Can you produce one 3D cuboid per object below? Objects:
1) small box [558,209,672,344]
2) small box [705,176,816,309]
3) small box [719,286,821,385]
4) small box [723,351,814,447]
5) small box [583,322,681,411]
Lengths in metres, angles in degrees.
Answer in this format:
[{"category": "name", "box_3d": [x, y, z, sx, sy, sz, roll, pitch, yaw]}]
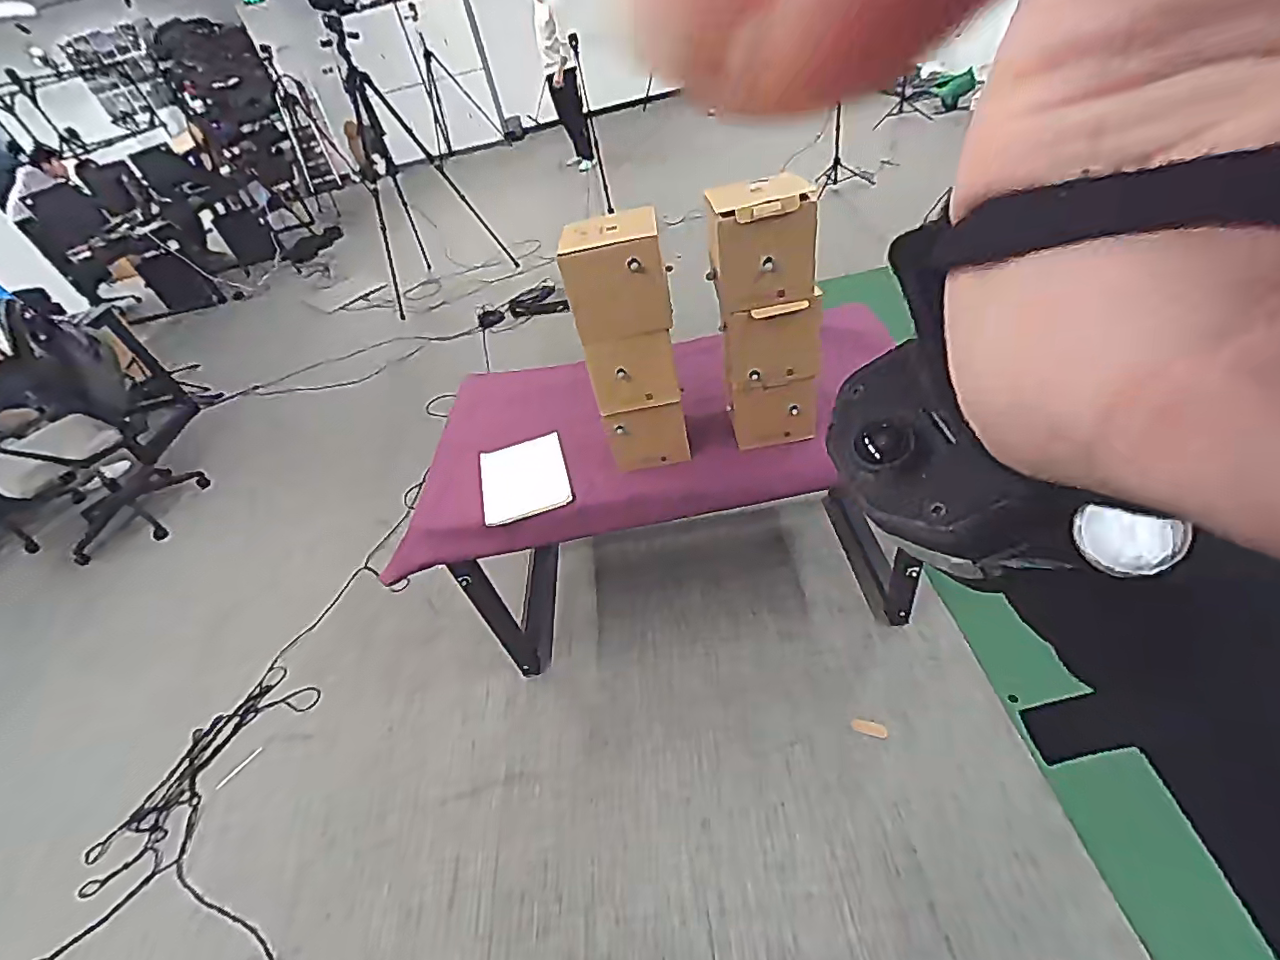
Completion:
[{"category": "small box", "box_3d": [-0.037, -0.373, 0.997, 0.179, 0.176, 0.168, -9, 40, 8]}, {"category": "small box", "box_3d": [0.215, -0.423, 0.982, 0.168, 0.176, 0.179, -8, 42, 5]}, {"category": "small box", "box_3d": [0.258, -0.305, 1.089, 0.168, 0.176, 0.179, -10, 41, 4]}, {"category": "small box", "box_3d": [0.283, -0.188, 1.200, 0.168, 0.176, 0.179, -9, 41, 5]}, {"category": "small box", "box_3d": [-0.014, -0.255, 1.112, 0.168, 0.176, 0.179, -10, 41, 6]}]
